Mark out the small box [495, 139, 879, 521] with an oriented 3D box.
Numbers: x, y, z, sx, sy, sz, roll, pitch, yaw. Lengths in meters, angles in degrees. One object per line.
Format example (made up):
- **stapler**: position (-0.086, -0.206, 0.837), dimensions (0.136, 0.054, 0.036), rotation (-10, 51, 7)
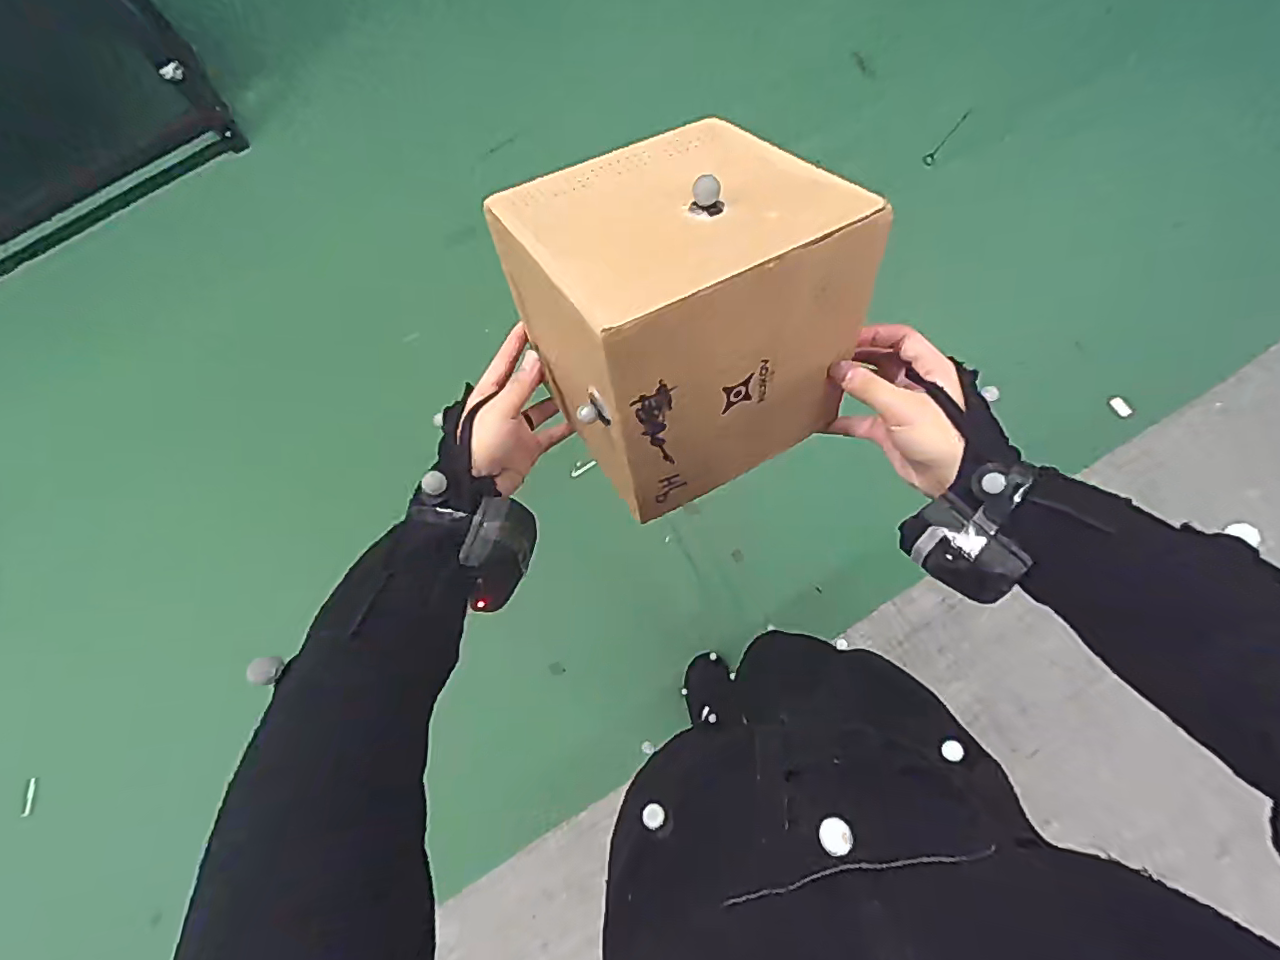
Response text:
- **small box**: position (0.025, -0.110, 0.383), dimensions (0.179, 0.168, 0.176), rotation (-27, 54, -13)
